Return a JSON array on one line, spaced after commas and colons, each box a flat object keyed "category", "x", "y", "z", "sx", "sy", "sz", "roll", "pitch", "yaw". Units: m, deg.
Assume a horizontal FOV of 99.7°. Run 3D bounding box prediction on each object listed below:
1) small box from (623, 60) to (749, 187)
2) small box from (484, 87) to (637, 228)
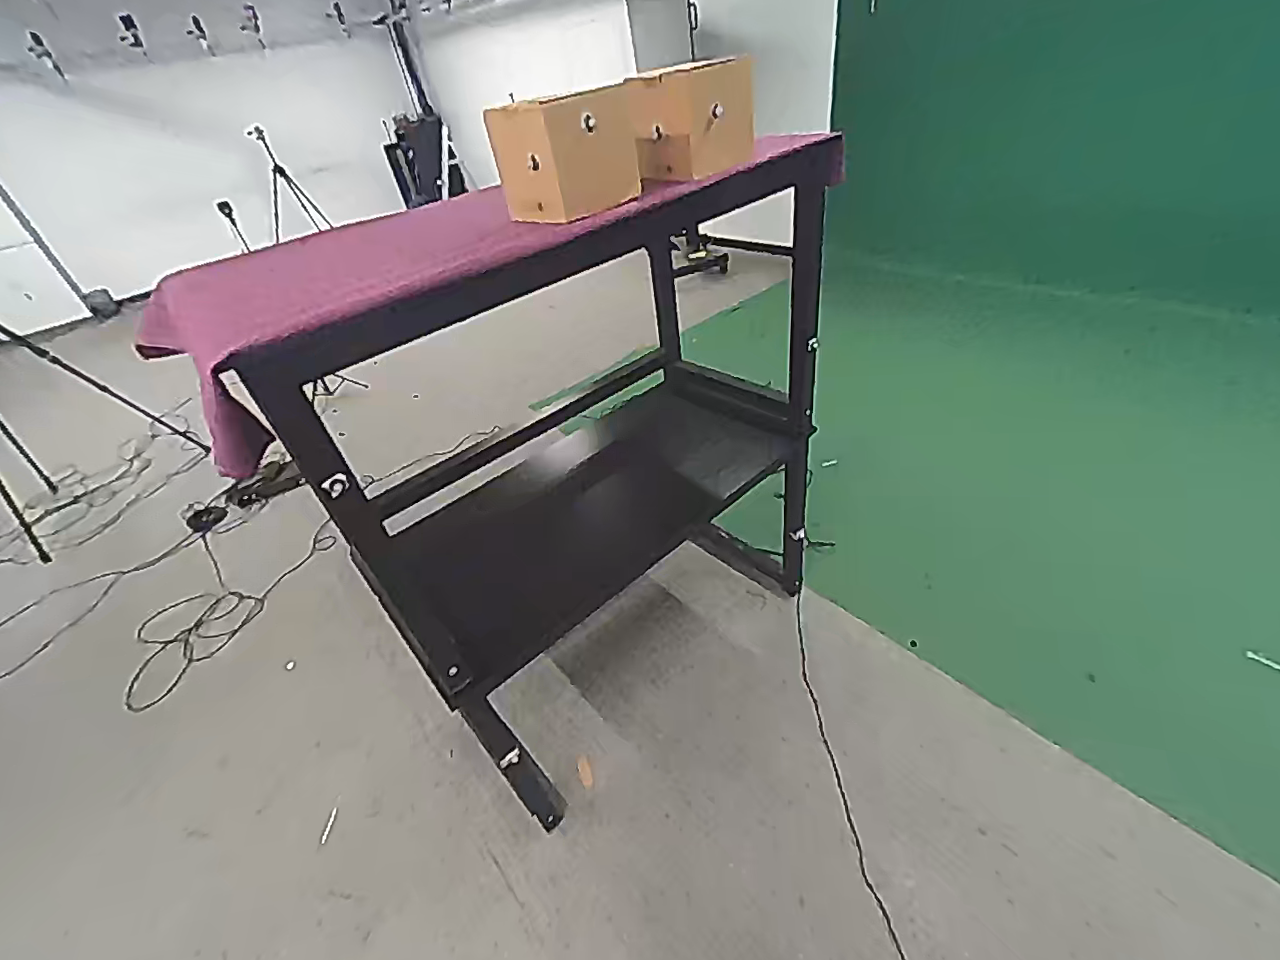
[{"category": "small box", "x": 0.095, "y": -0.673, "z": 1.032, "sx": 0.179, "sy": 0.176, "sz": 0.168, "roll": -35, "pitch": 45, "yaw": -26}, {"category": "small box", "x": -0.124, "y": -0.534, "z": 0.907, "sx": 0.179, "sy": 0.176, "sz": 0.168, "roll": -35, "pitch": 43, "yaw": -29}]
